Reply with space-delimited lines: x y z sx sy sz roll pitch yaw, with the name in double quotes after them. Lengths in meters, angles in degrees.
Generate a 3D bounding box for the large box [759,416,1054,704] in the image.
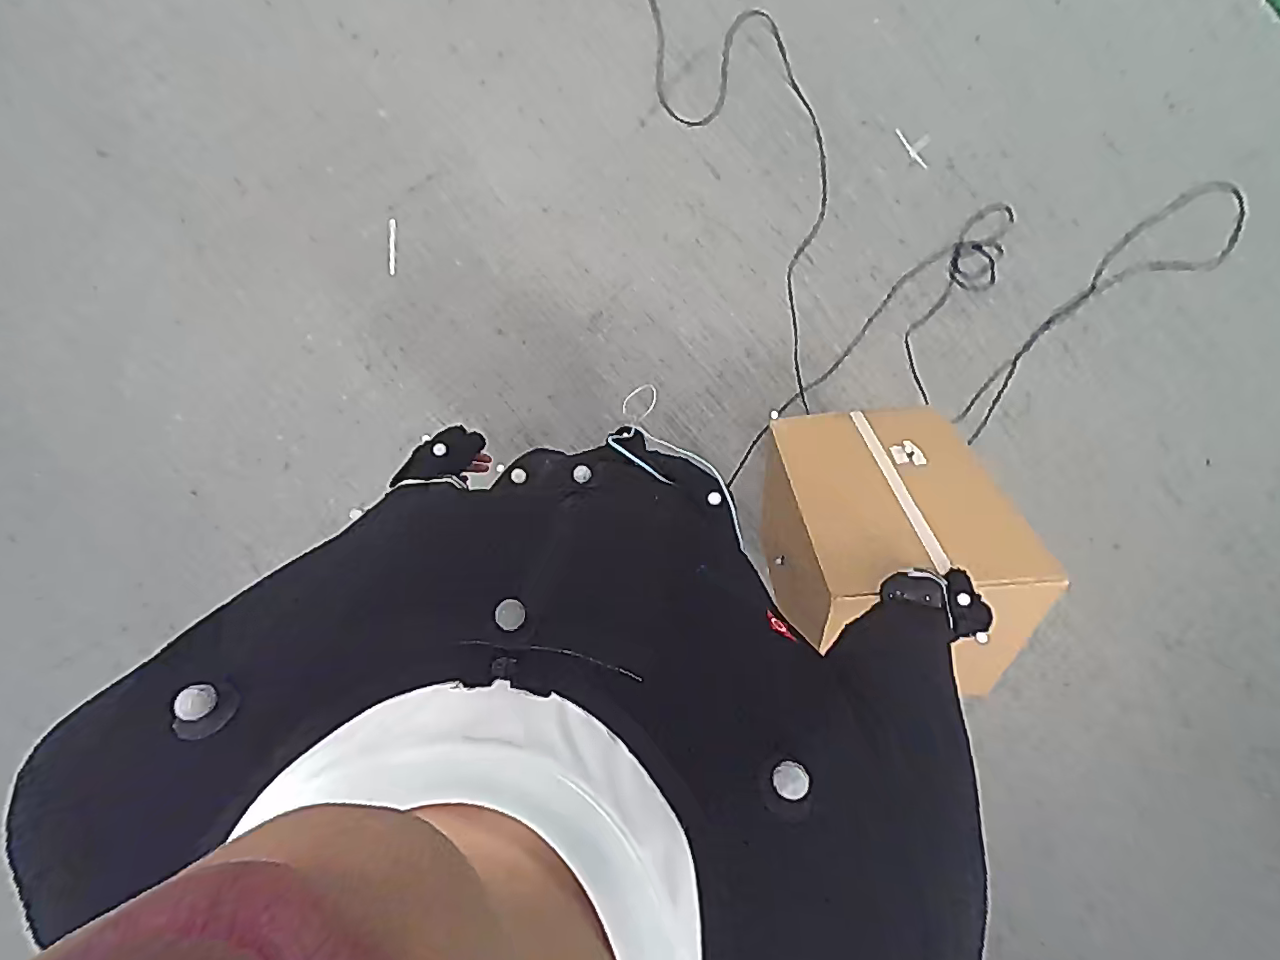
0.412 0.132 0.971 0.320 0.408 0.320 -3 131 1 "large box"
